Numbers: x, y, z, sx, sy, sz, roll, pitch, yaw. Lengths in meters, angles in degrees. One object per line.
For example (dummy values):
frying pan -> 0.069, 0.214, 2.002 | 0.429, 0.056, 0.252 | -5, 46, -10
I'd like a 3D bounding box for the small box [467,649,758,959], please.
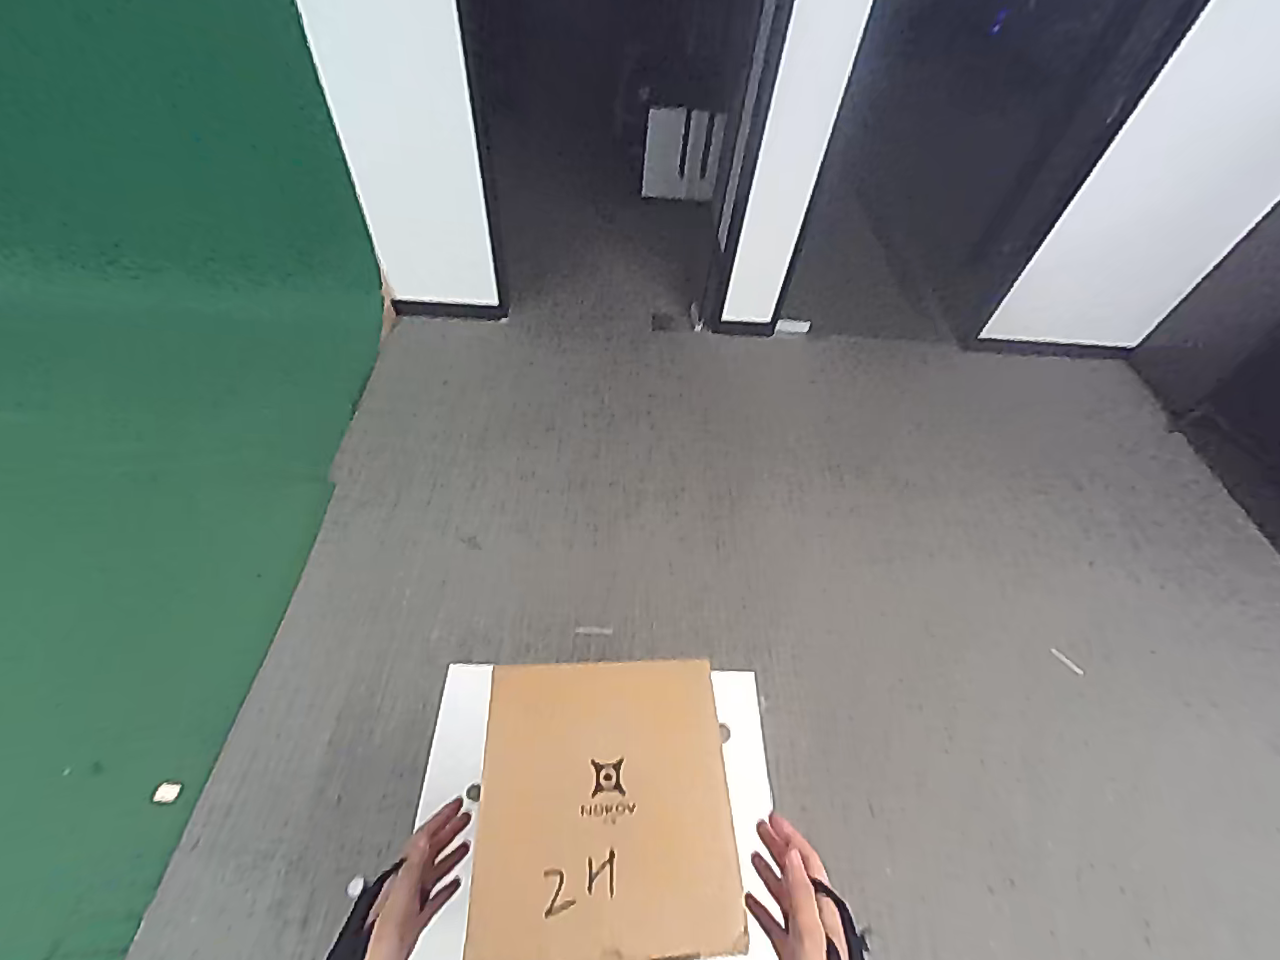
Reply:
small box -> -0.025, 0.246, 0.413 | 0.168, 0.176, 0.179 | 0, 51, -6
